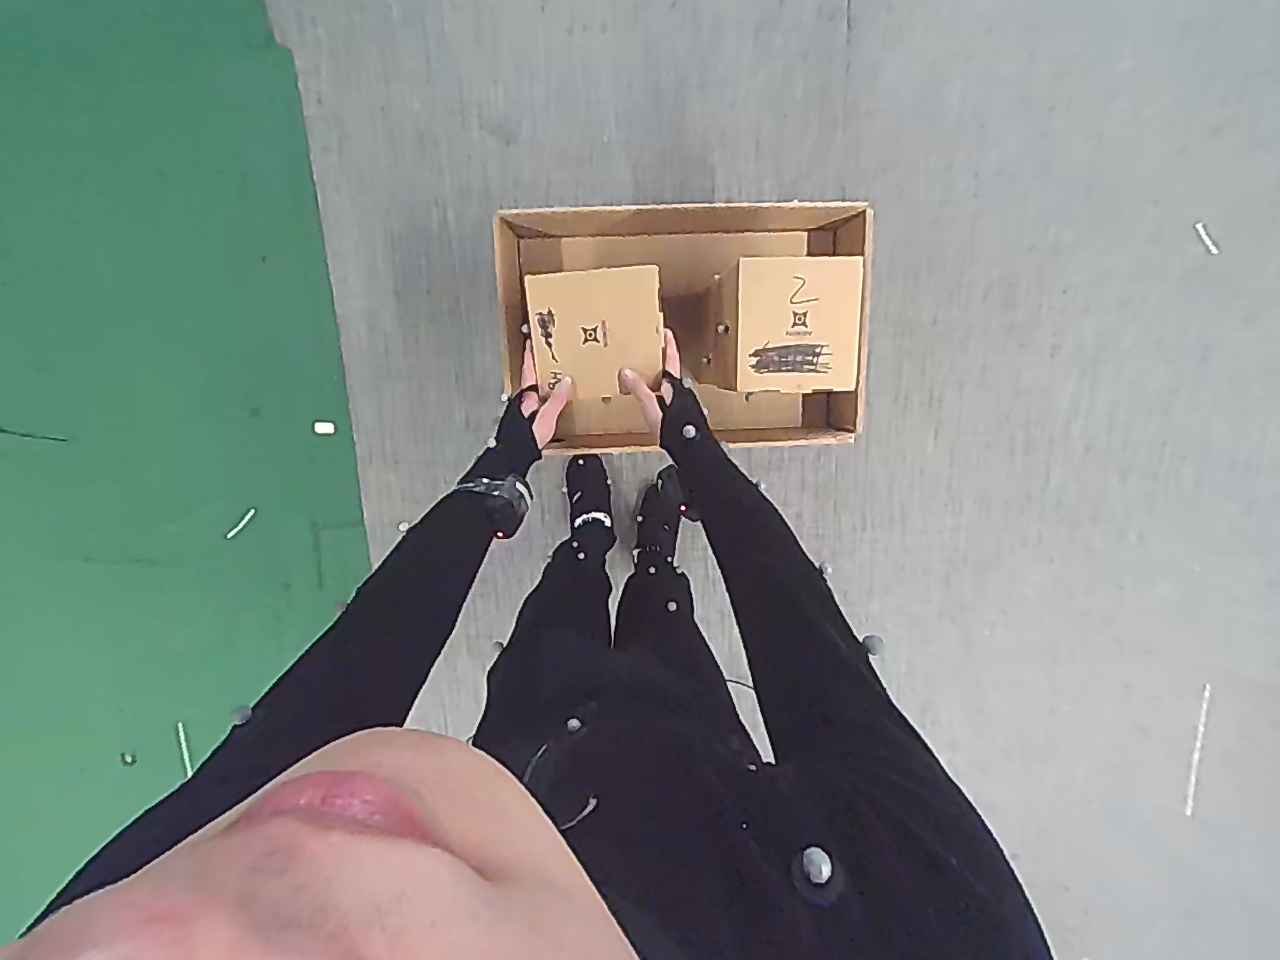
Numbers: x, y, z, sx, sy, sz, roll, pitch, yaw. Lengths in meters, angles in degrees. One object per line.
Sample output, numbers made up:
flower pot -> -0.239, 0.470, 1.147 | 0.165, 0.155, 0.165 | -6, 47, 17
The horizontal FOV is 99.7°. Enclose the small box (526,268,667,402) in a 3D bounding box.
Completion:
small box -> -0.059, -0.207, 0.789 | 0.179, 0.176, 0.168 | -5, 102, -1
